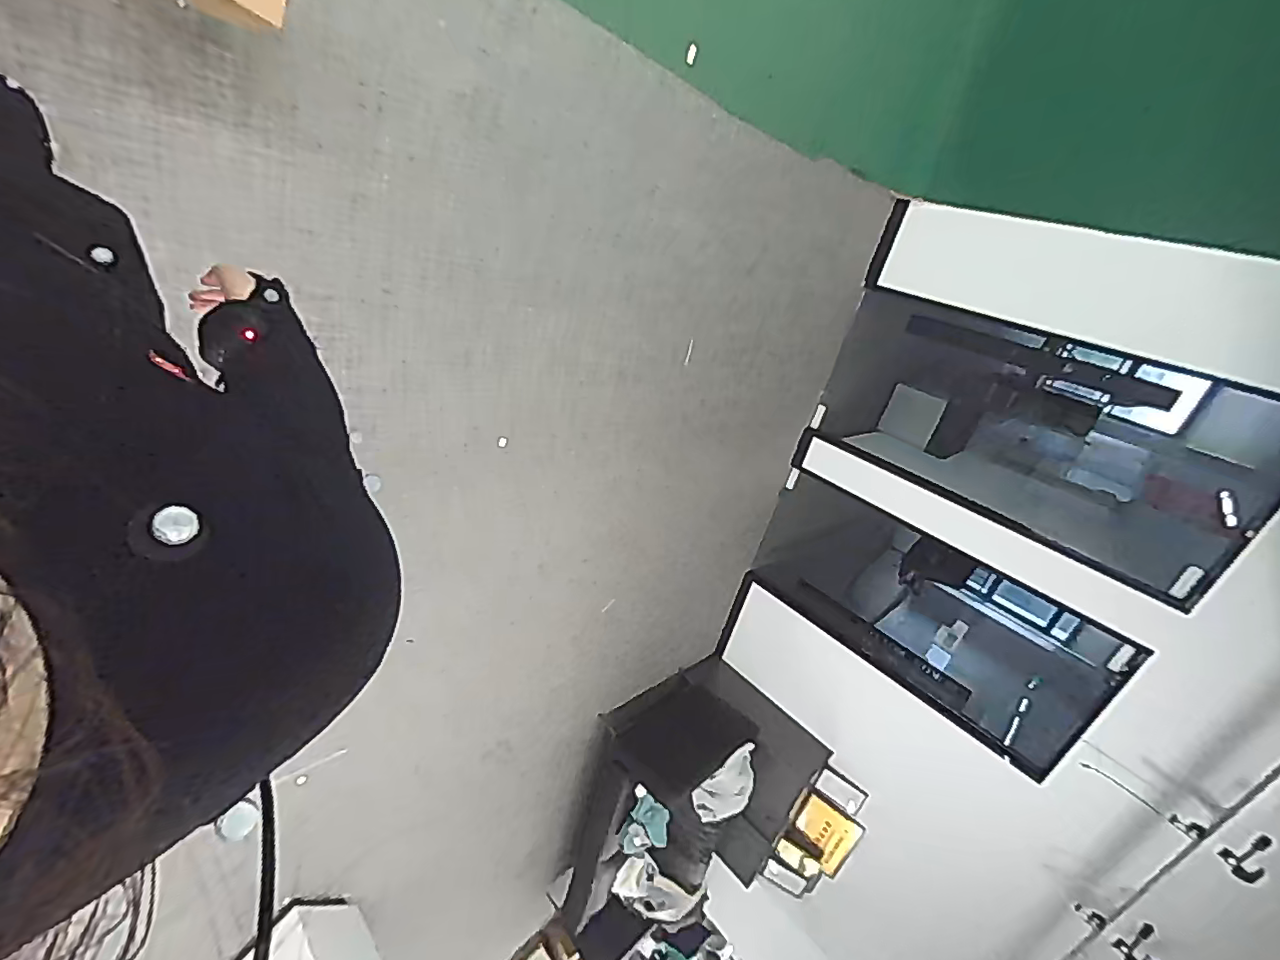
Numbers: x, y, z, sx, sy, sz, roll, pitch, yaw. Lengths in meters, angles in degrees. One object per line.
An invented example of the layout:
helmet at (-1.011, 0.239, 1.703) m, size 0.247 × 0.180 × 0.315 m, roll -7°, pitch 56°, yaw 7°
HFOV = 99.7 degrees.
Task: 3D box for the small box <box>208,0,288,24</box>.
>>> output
small box at (-0.618, -0.798, 0.777) m, size 0.179 × 0.176 × 0.168 m, roll 4°, pitch 116°, yaw -51°
